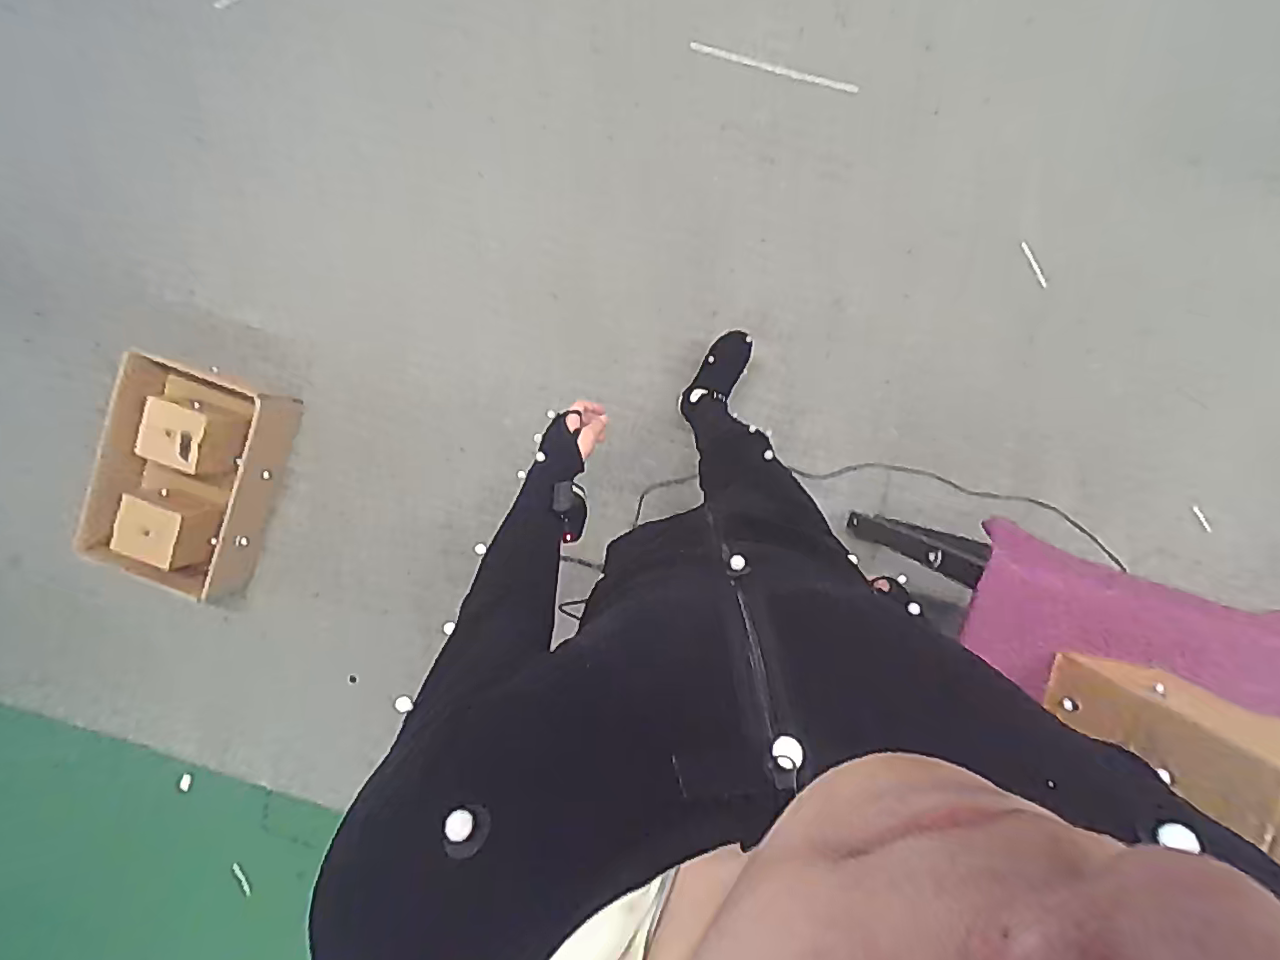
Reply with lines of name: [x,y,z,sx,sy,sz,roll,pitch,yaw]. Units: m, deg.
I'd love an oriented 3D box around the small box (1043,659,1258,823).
small box: [0.749,0.382,0.789,0.179,0.176,0.168,11,95,2]

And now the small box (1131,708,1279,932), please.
small box: [0.741,0.389,0.624,0.179,0.176,0.168,10,95,2]
